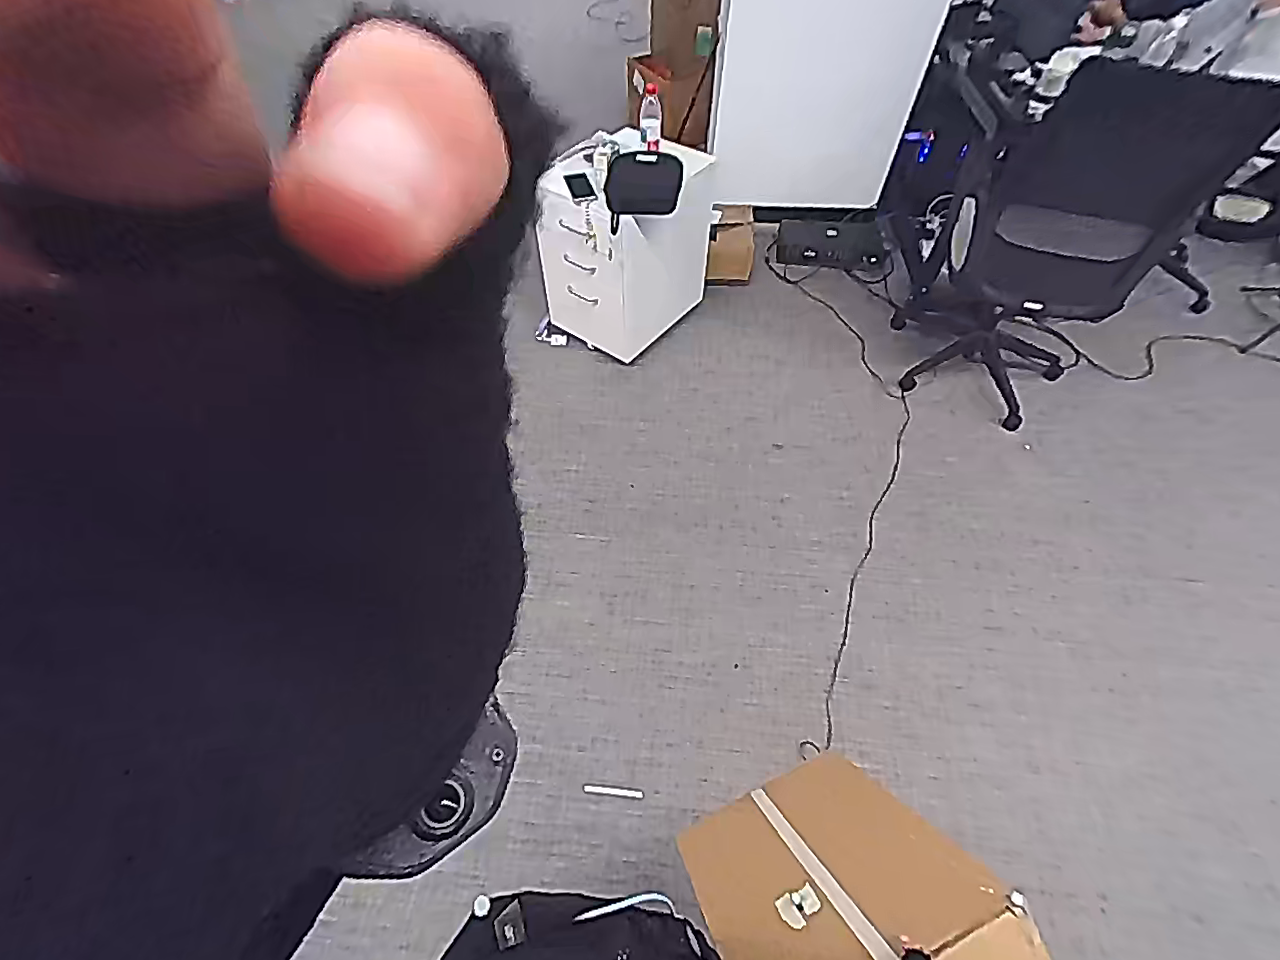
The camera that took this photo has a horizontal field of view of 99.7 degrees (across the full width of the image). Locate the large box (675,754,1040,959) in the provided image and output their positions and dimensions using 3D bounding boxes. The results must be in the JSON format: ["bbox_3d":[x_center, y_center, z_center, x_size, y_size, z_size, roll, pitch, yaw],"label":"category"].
[{"bbox_3d":[0.282,0.655,0.724,0.320,0.408,0.320,-23,89,-10],"label":"large box"}]
